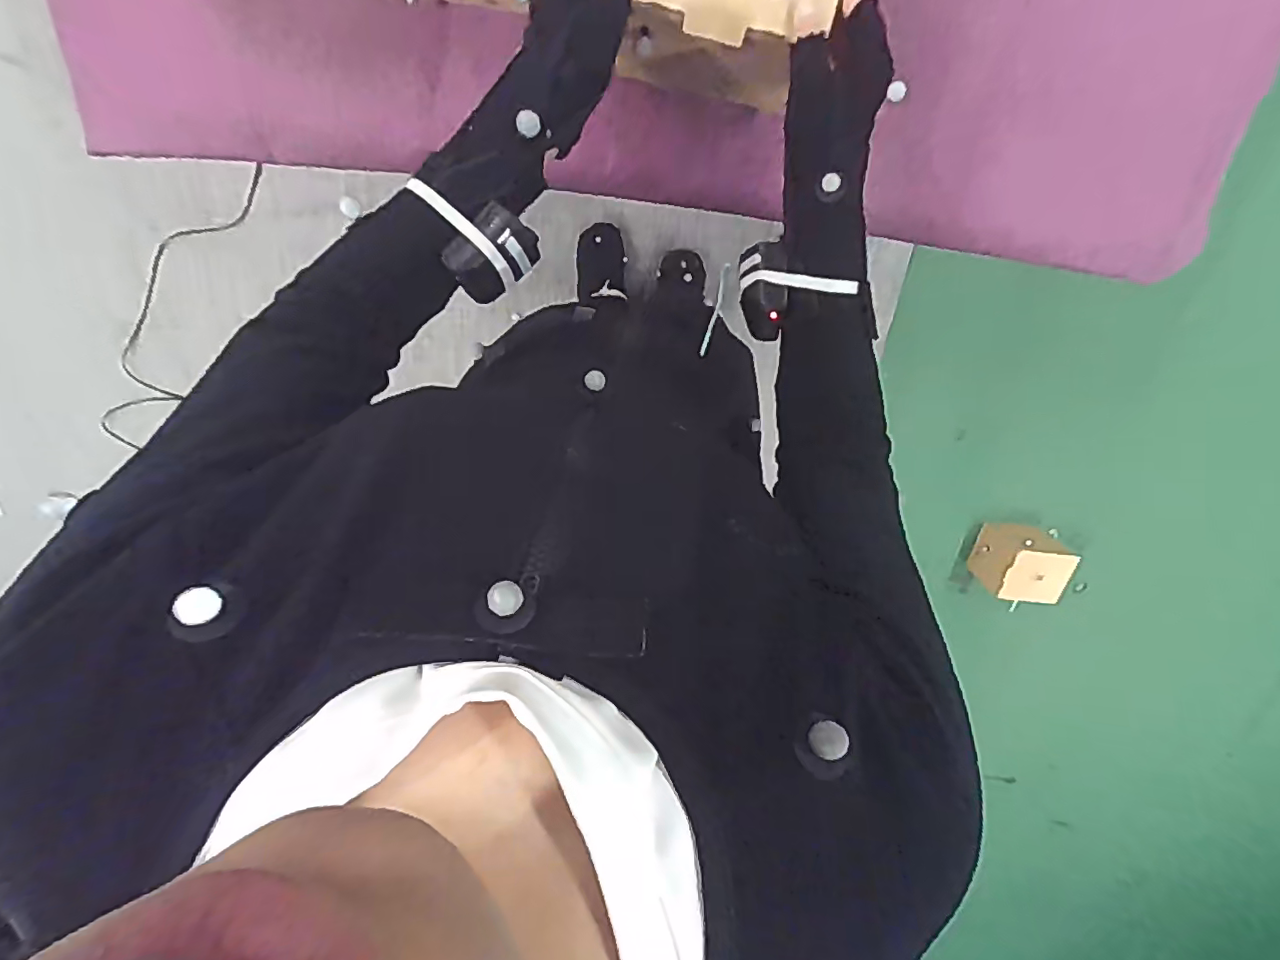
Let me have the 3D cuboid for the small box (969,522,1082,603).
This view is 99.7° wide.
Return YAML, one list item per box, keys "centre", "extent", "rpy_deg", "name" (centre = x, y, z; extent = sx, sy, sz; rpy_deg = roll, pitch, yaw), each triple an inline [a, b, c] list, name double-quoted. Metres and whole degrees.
- centre: [1.111, 0.237, 1.575]
  extent: [0.179, 0.176, 0.168]
  rpy_deg: [6, 116, -2]
  name: "small box"

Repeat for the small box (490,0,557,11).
- centre: [-0.150, -0.511, 0.425]
  extent: [0.168, 0.176, 0.179]
  rpy_deg: [7, 115, -3]
  name: "small box"
